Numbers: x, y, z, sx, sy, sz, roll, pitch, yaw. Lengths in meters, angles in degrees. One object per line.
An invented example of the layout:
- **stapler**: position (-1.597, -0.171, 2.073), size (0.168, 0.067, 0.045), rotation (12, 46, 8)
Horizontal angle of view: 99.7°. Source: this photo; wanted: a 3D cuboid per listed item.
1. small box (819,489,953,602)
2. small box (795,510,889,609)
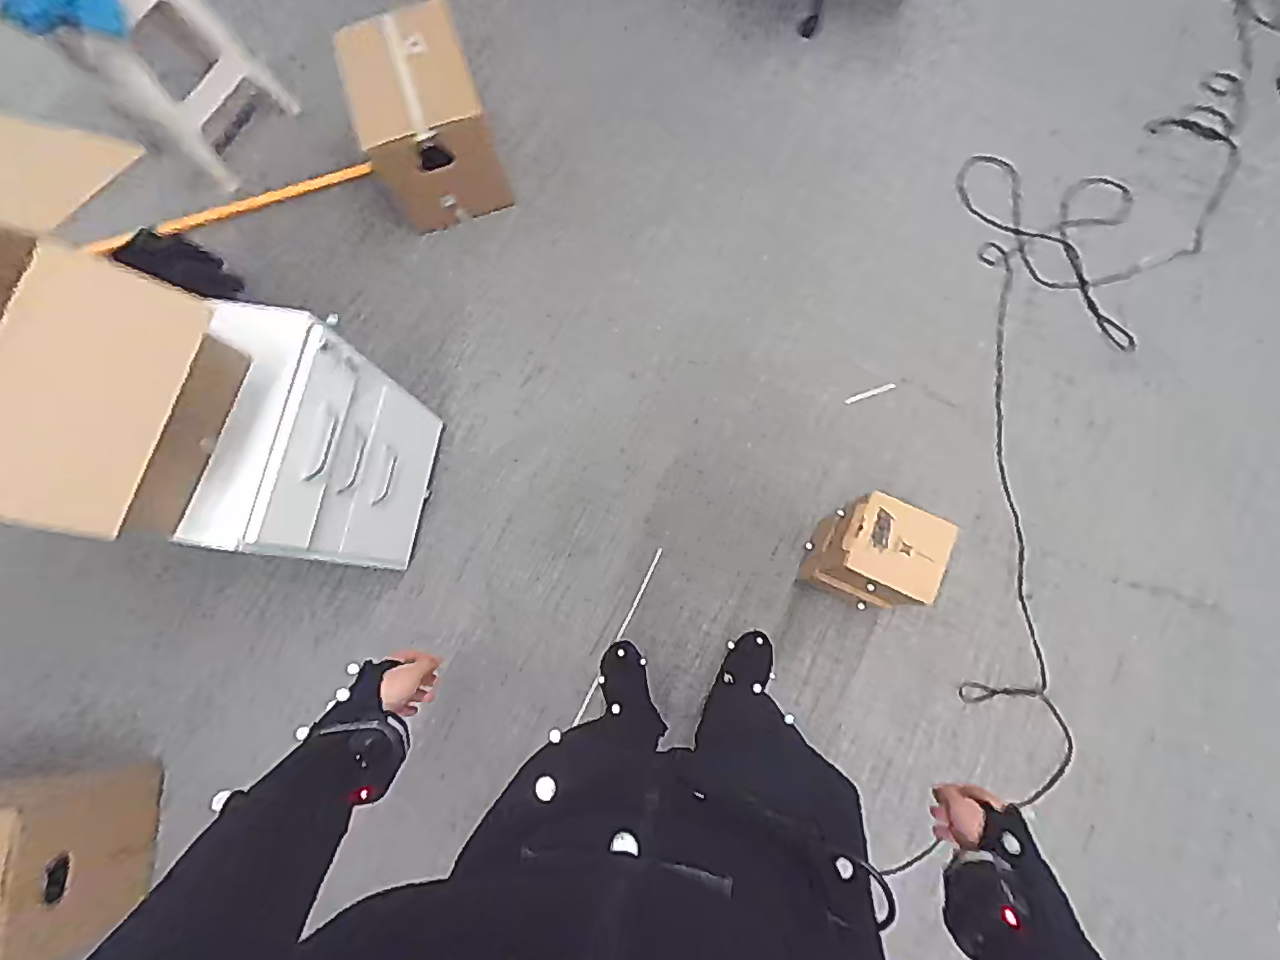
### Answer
- **small box**: position (0.492, 0.140, 1.110), size (0.179, 0.176, 0.168), rotation (24, 80, 7)
- **small box**: position (0.489, 0.188, 1.268), size (0.179, 0.176, 0.168), rotation (23, 79, 8)
